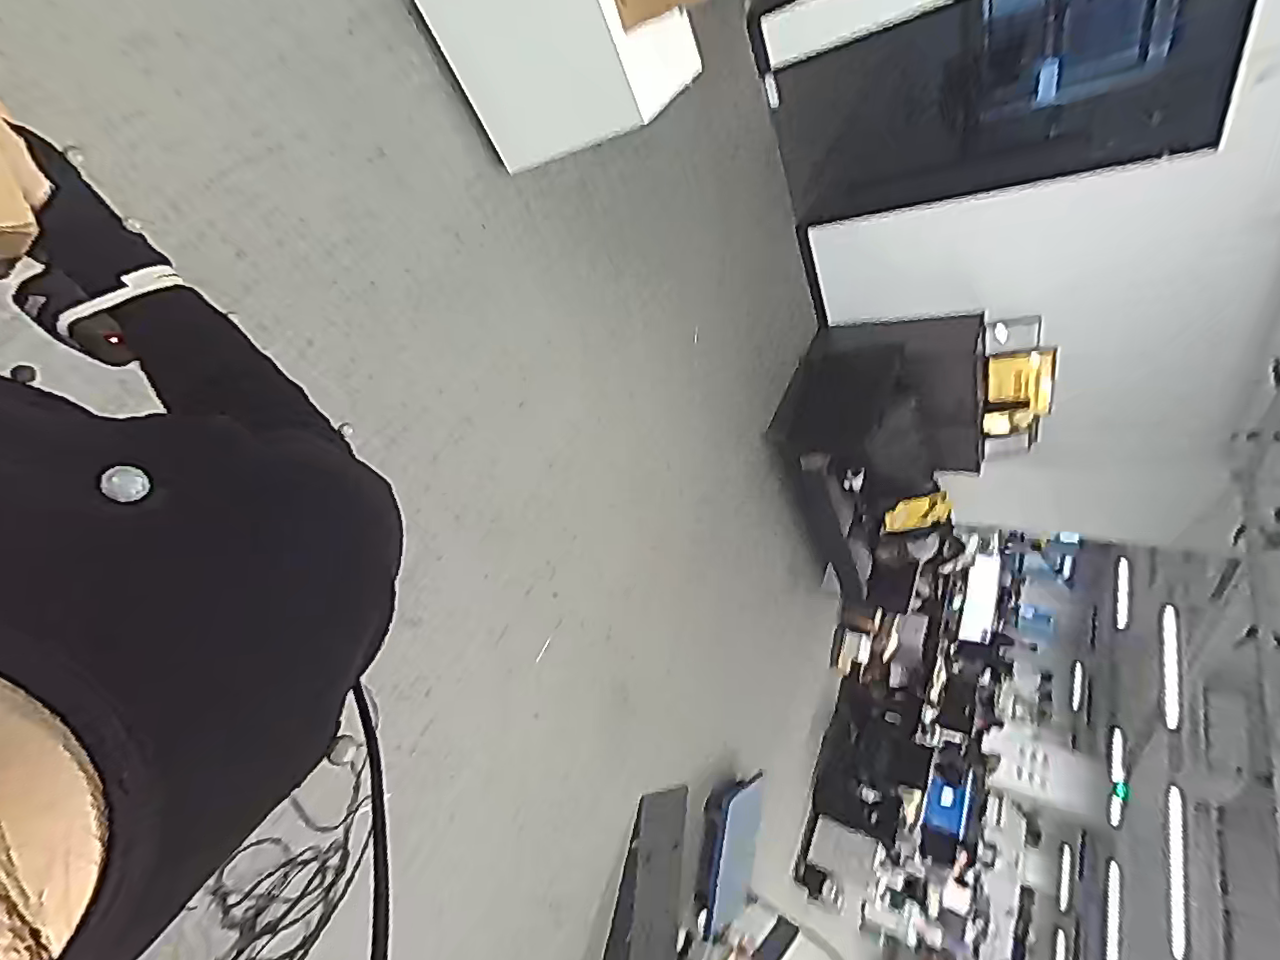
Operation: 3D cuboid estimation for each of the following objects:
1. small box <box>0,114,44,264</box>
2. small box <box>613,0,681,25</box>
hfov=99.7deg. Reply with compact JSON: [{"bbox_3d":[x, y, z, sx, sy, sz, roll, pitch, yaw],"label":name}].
[{"bbox_3d":[-0.495,-0.220,0.297,0.168,0.176,0.179,-31,117,-49],"label":"small box"},{"bbox_3d":[0.031,-1.238,1.299,0.179,0.176,0.168,-55,136,-33],"label":"small box"}]
